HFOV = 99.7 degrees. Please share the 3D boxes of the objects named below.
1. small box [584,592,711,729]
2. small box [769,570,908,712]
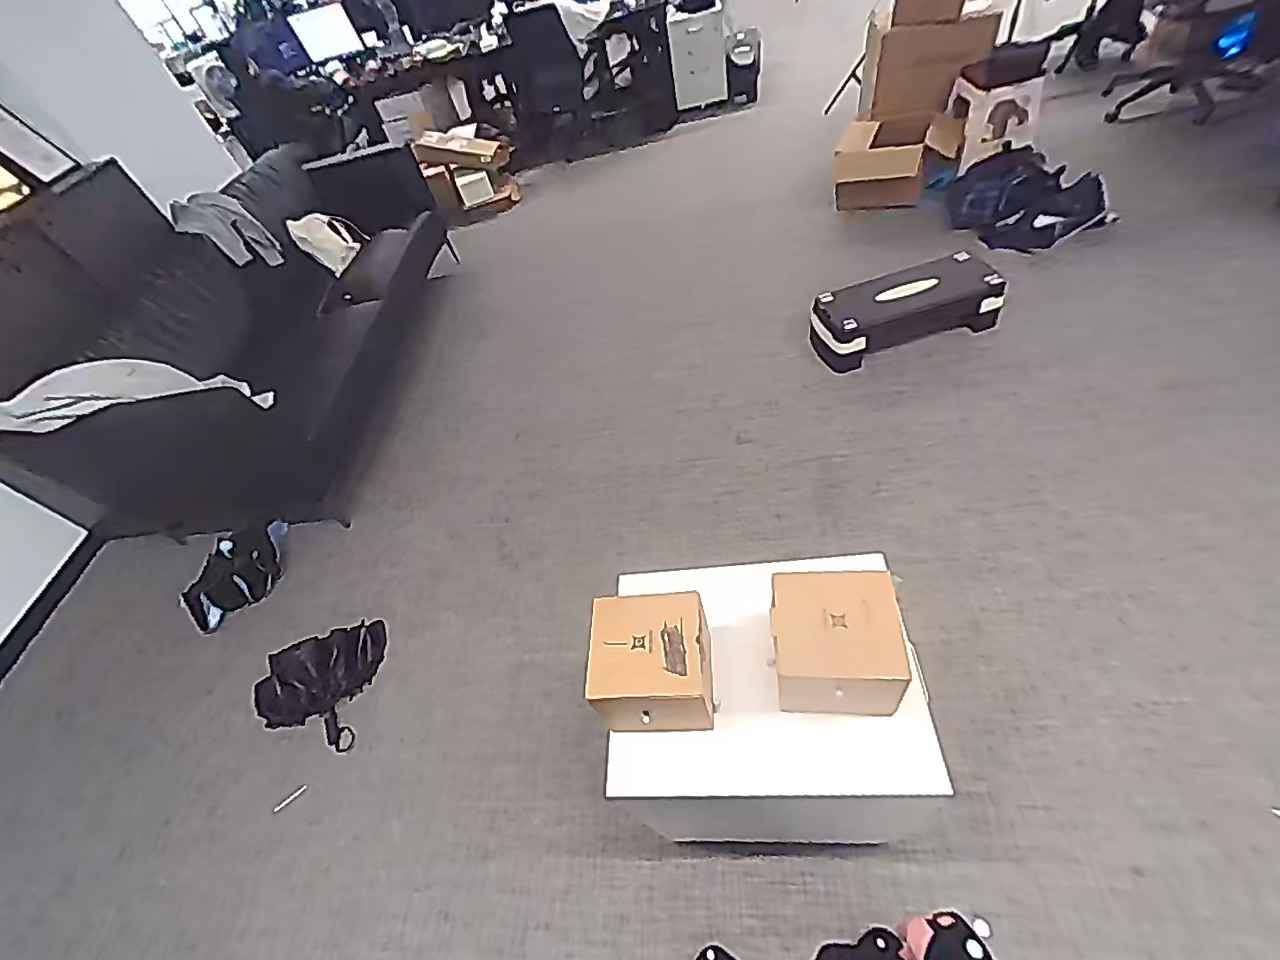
[{"bbox_3d":[0.023,0.298,0.884,0.179,0.176,0.168,-6,49,11],"label":"small box"},{"bbox_3d":[0.299,0.254,0.845,0.179,0.176,0.168,-3,52,13],"label":"small box"}]
